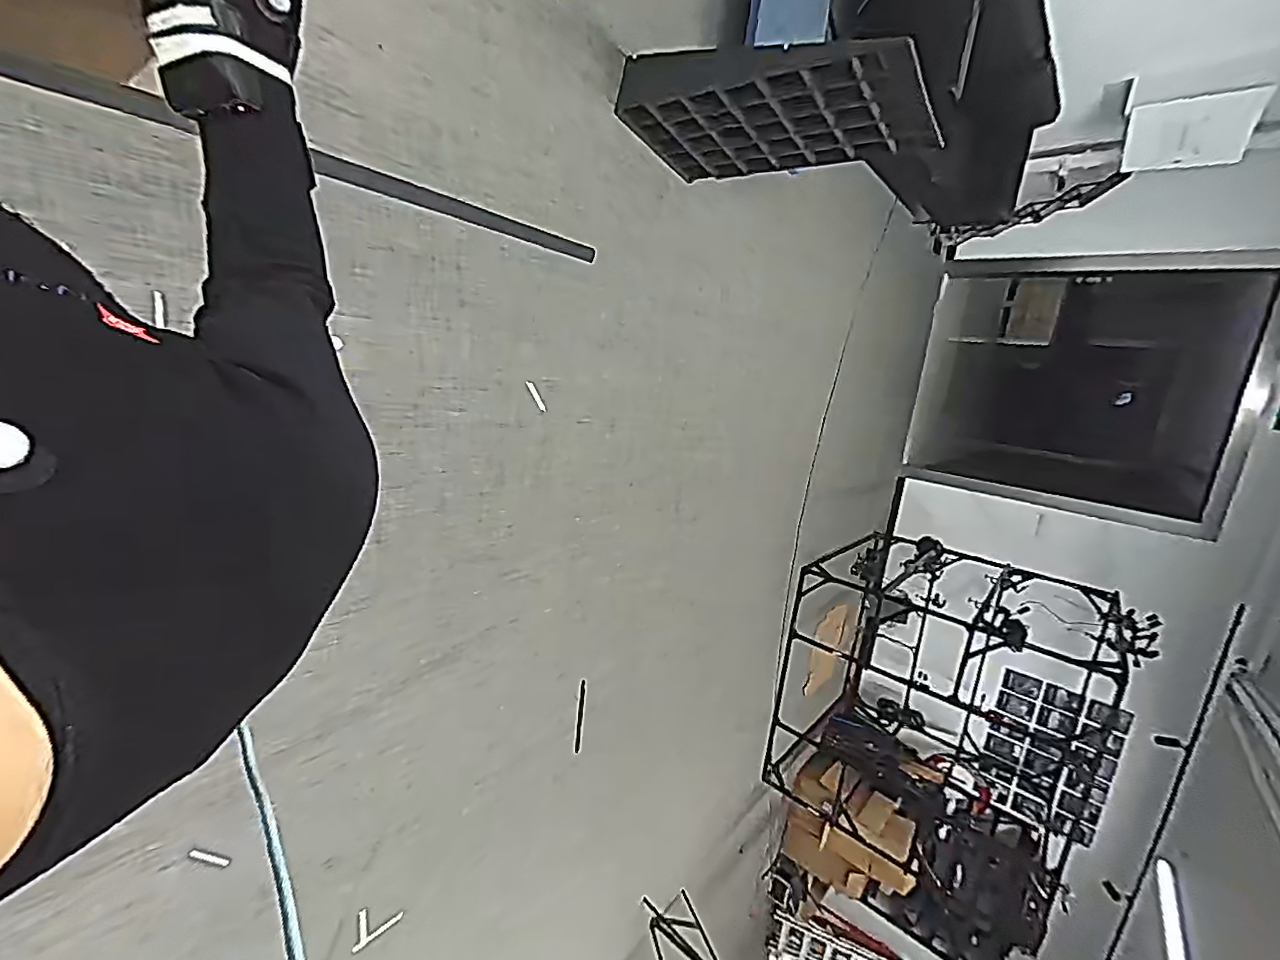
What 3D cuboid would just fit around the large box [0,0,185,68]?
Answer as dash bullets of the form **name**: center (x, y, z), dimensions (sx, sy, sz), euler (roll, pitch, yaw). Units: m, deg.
- **large box**: center (-0.530, -0.486, 0.270), dimensions (0.408, 0.320, 0.320), euler (-13, 117, -49)
